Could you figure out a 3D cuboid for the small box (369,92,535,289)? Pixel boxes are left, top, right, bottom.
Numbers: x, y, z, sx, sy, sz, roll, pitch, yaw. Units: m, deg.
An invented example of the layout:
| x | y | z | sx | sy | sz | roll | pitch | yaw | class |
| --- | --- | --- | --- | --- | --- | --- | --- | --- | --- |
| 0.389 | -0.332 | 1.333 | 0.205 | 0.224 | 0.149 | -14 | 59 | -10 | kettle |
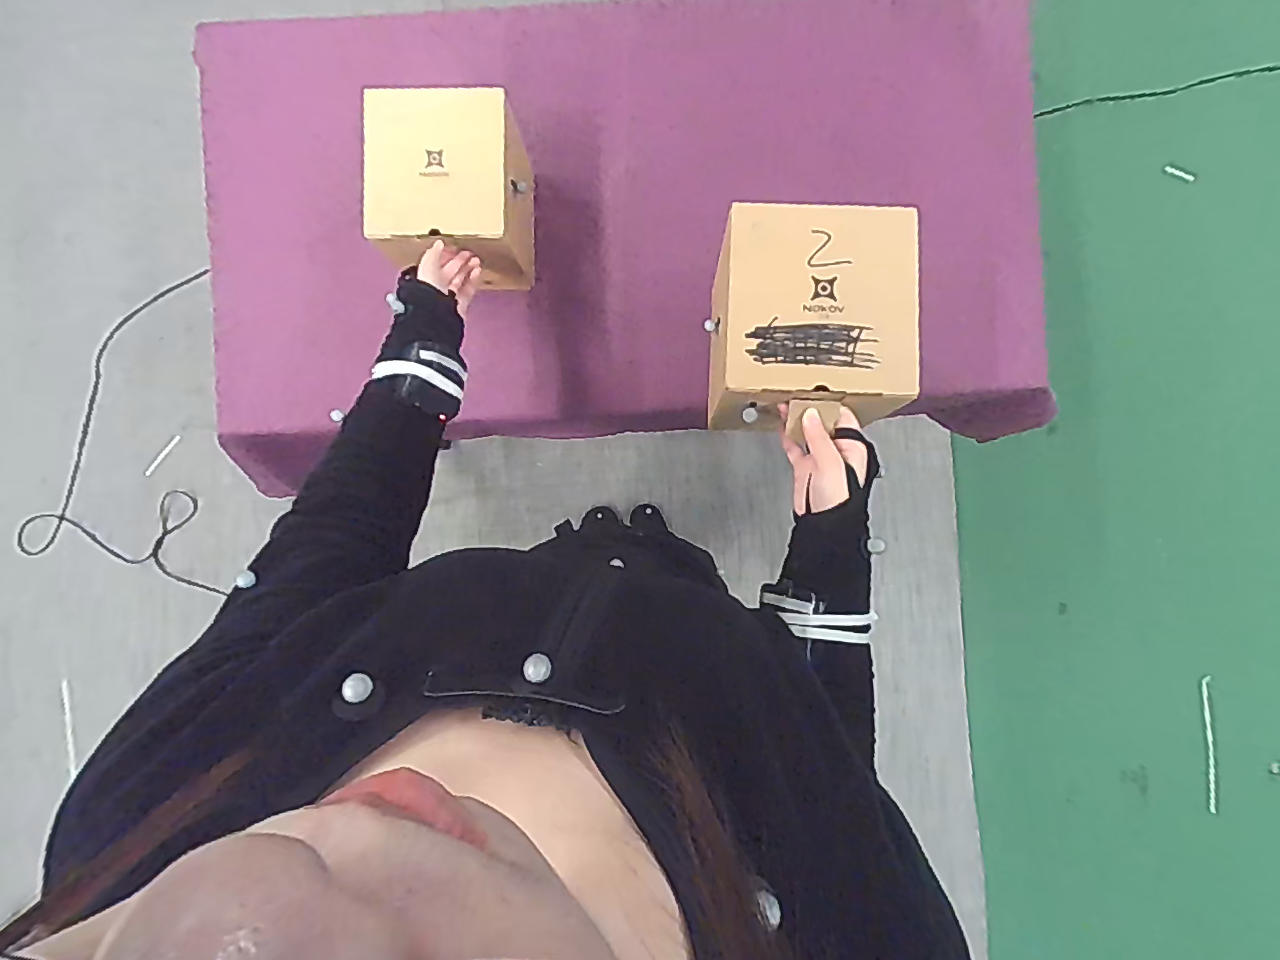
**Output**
| x | y | z | sx | sy | sz | roll | pitch | yaw | class |
| --- | --- | --- | --- | --- | --- | --- | --- | --- | --- |
| -0.239 | -0.373 | 0.722 | 0.168 | 0.176 | 0.179 | 0 | 90 | 0 | small box |
